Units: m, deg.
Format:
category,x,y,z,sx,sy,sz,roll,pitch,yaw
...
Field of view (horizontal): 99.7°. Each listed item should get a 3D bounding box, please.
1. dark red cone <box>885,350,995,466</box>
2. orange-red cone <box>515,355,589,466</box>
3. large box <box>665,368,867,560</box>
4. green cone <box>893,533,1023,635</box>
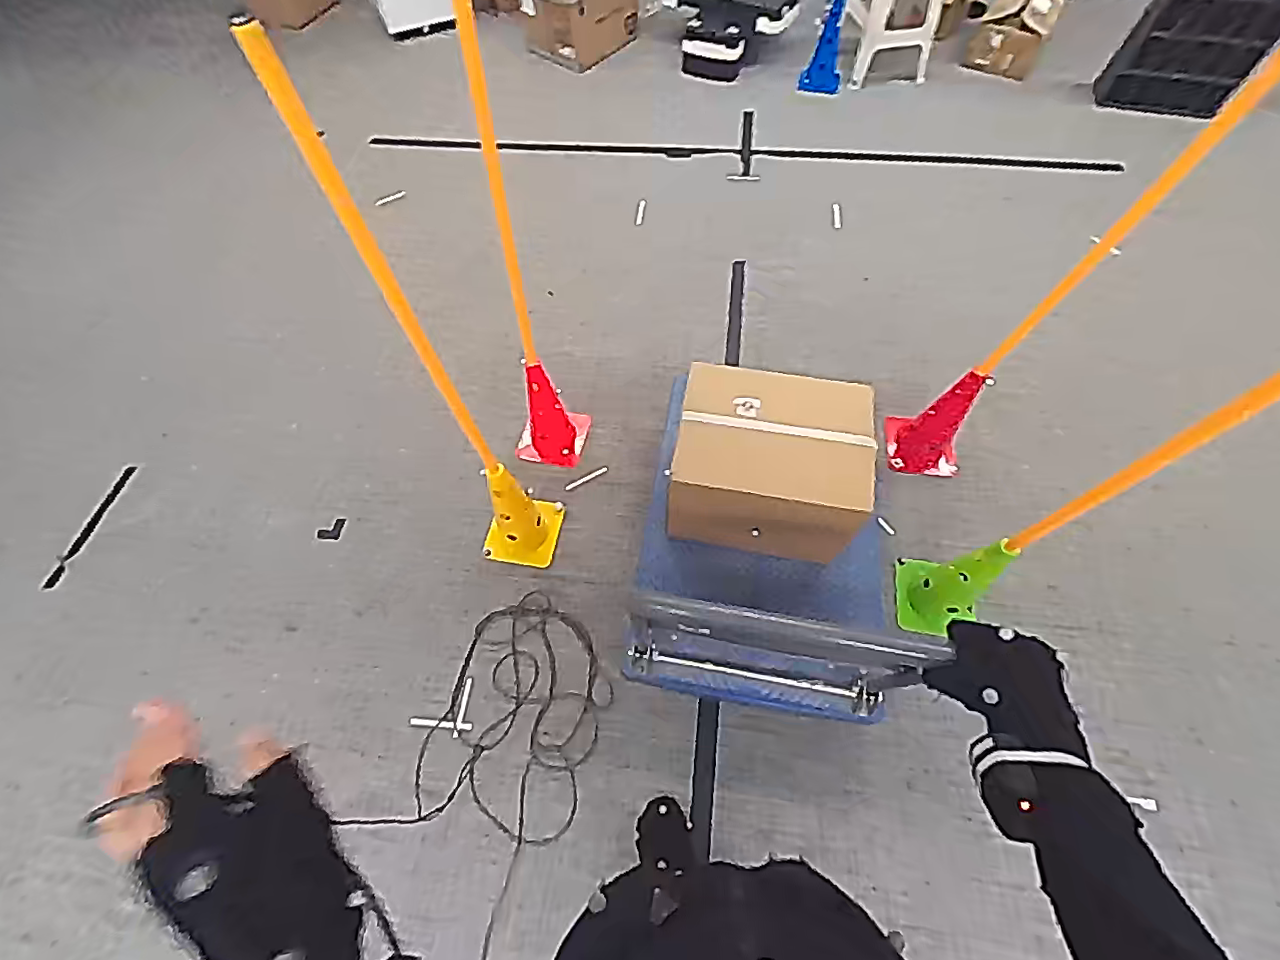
category,x,y,z,sx,sy,sz,roll,pitch,yaw
dark red cone,0.854,-0.211,1.500,0.201,0.394,0.202,6,62,3
orange-red cone,-0.279,-0.228,1.565,0.198,0.360,0.199,12,61,7
large box,0.282,-0.028,1.275,0.408,0.320,0.320,9,63,7
green cone,0.777,0.218,1.287,0.202,0.368,0.200,9,62,5
